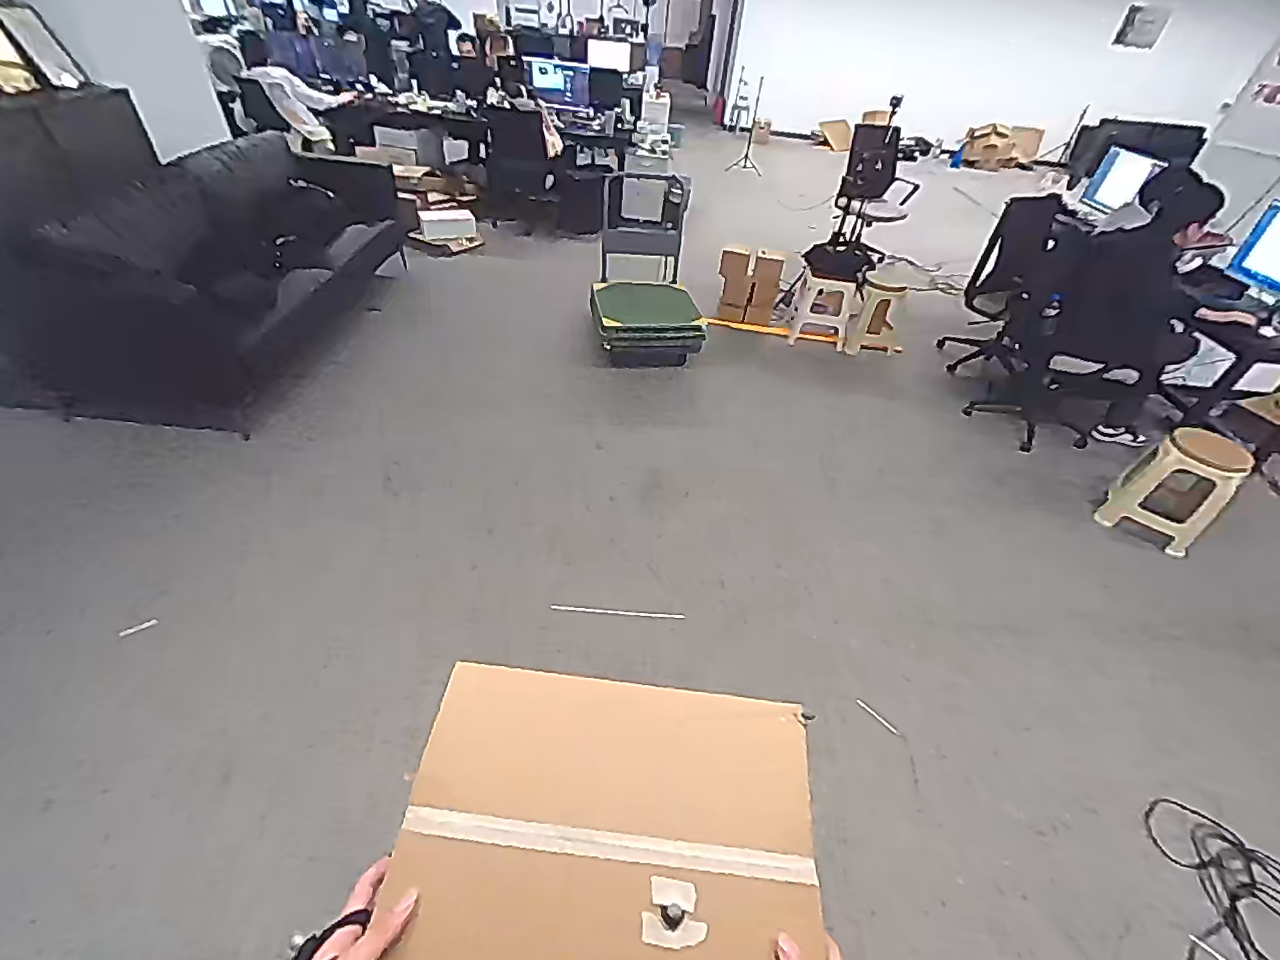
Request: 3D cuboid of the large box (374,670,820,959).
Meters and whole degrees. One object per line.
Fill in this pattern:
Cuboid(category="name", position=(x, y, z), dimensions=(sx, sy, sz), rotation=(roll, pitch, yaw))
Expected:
Cuboid(category="large box", position=(-0.037, 0.453, 0.650), dimensions=(0.408, 0.320, 0.320), rotation=(7, 51, 1))
